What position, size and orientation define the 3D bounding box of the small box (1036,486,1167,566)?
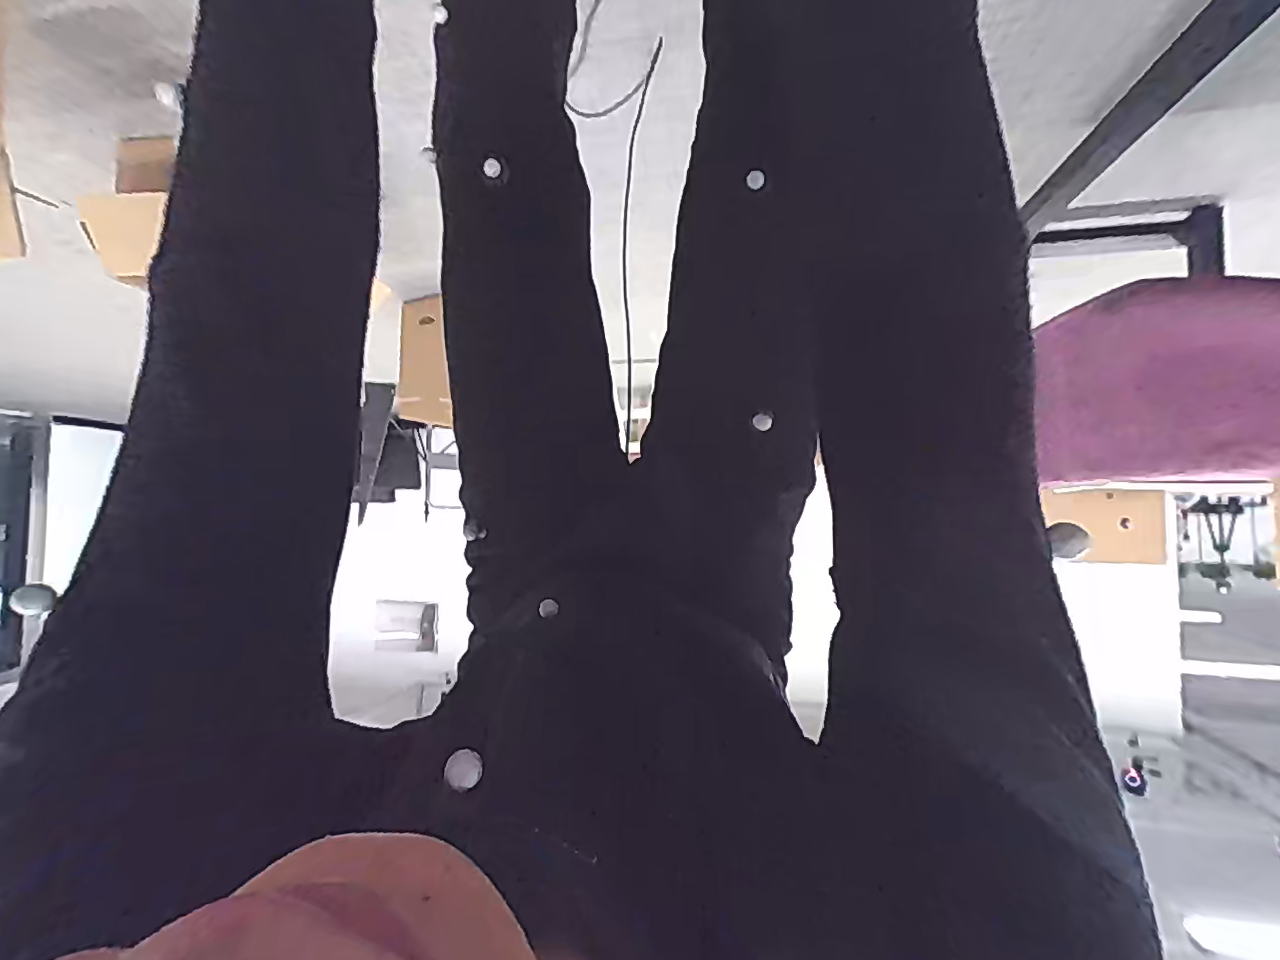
[{"bbox_3d":[1.019,0.099,1.212,0.168,0.176,0.179,0,178,9],"label":"small box"}]
